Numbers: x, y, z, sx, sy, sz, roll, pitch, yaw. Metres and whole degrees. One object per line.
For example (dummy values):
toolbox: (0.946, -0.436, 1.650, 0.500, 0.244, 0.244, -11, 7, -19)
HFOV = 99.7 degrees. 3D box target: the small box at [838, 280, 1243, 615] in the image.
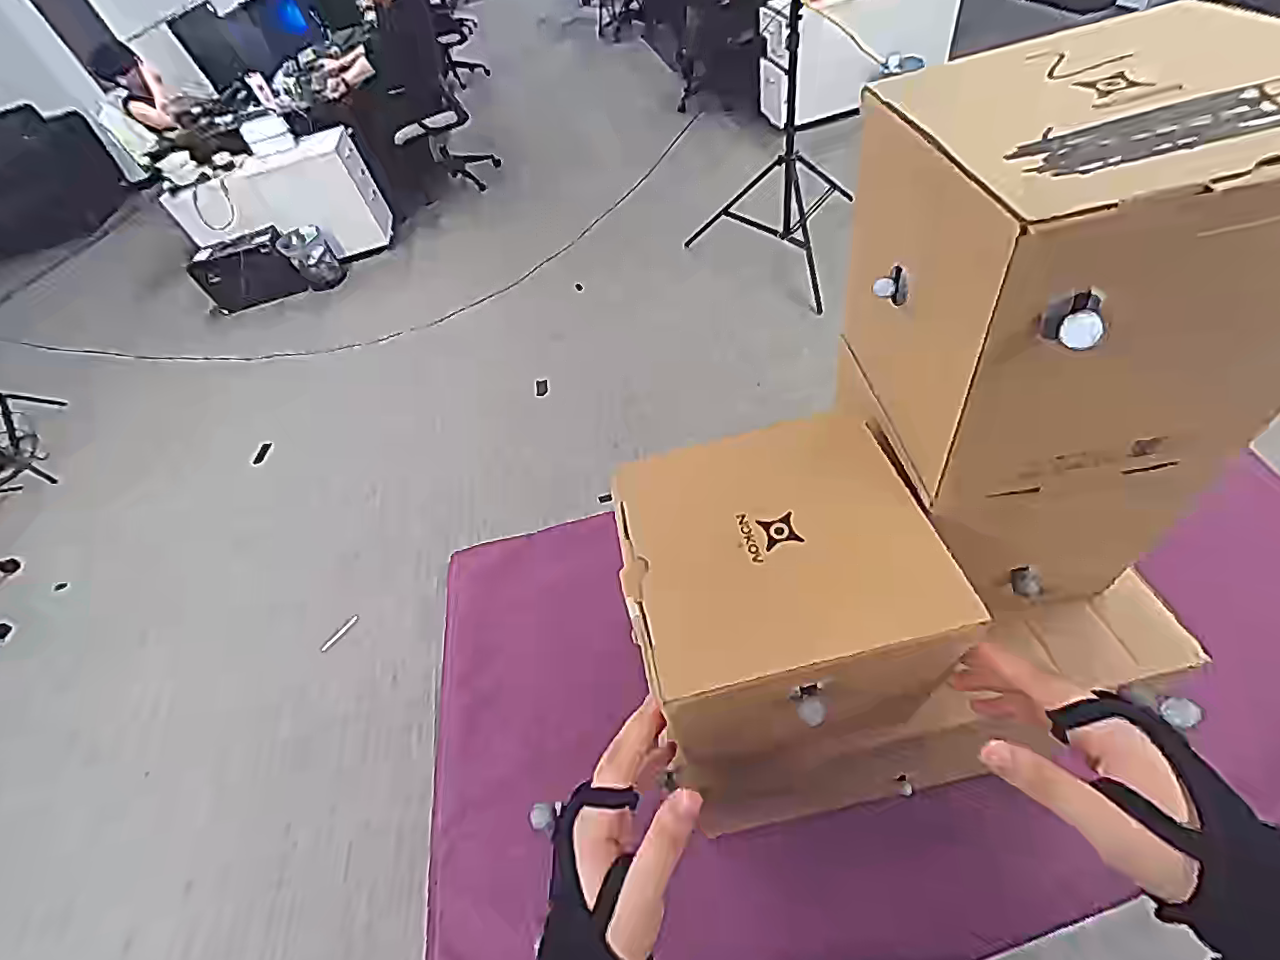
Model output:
small box: (0.262, -0.020, 0.418, 0.168, 0.176, 0.179, -12, 49, 7)

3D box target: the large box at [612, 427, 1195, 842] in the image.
large box: (0.218, 0.163, 0.603, 0.408, 0.320, 0.320, -16, 48, 2)
